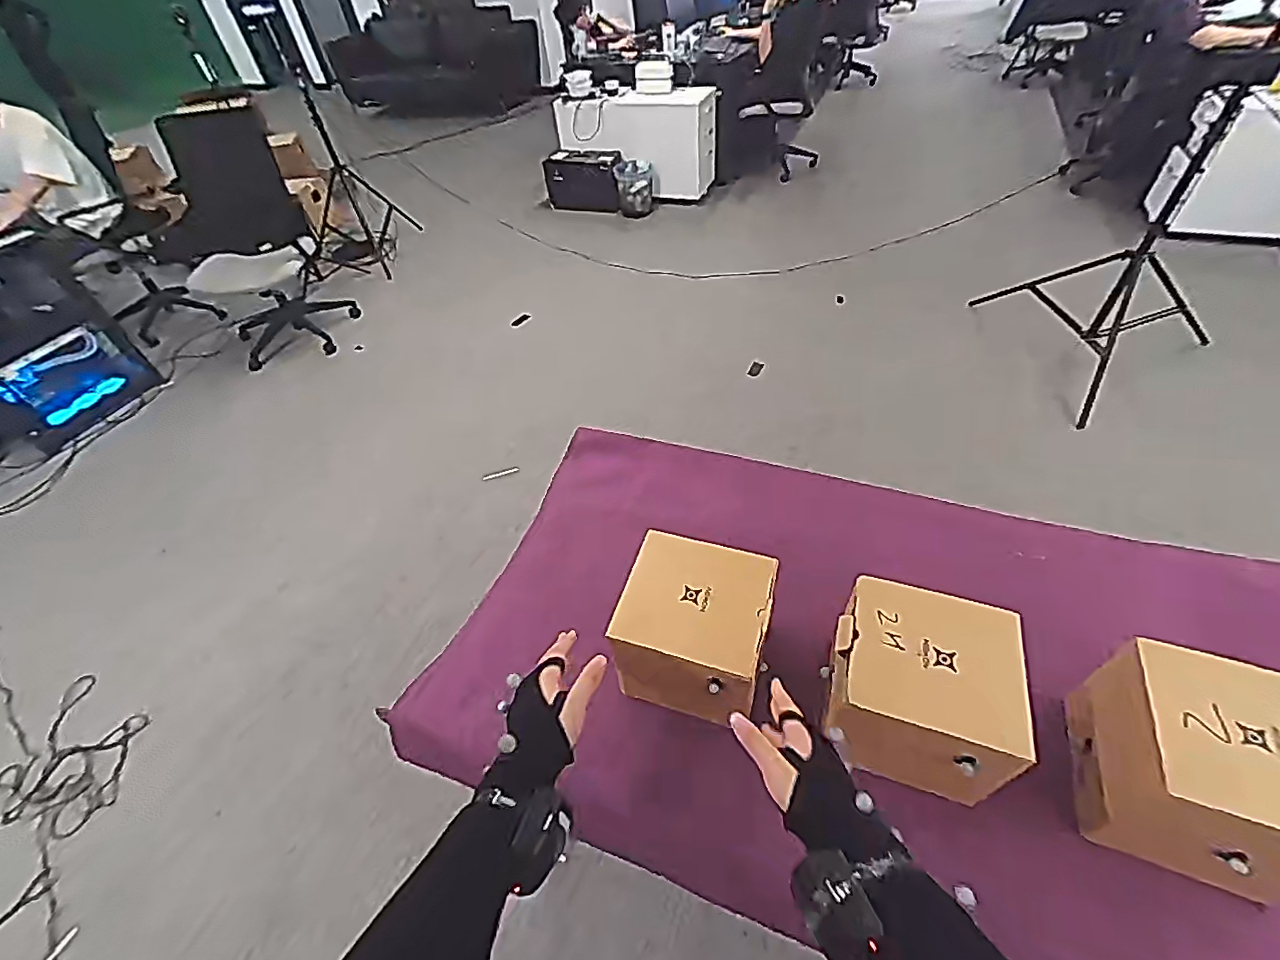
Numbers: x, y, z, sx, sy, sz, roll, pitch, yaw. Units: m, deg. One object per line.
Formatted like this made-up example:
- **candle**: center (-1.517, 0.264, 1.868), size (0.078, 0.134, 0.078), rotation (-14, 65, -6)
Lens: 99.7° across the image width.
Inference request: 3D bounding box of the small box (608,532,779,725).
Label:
- **small box**: center (0.075, 0.197, 0.714), size (0.179, 0.176, 0.168), rotation (11, 49, 16)

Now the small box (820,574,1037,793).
- **small box**: center (0.326, 0.243, 0.638), size (0.179, 0.176, 0.168), rotation (12, 49, 17)
